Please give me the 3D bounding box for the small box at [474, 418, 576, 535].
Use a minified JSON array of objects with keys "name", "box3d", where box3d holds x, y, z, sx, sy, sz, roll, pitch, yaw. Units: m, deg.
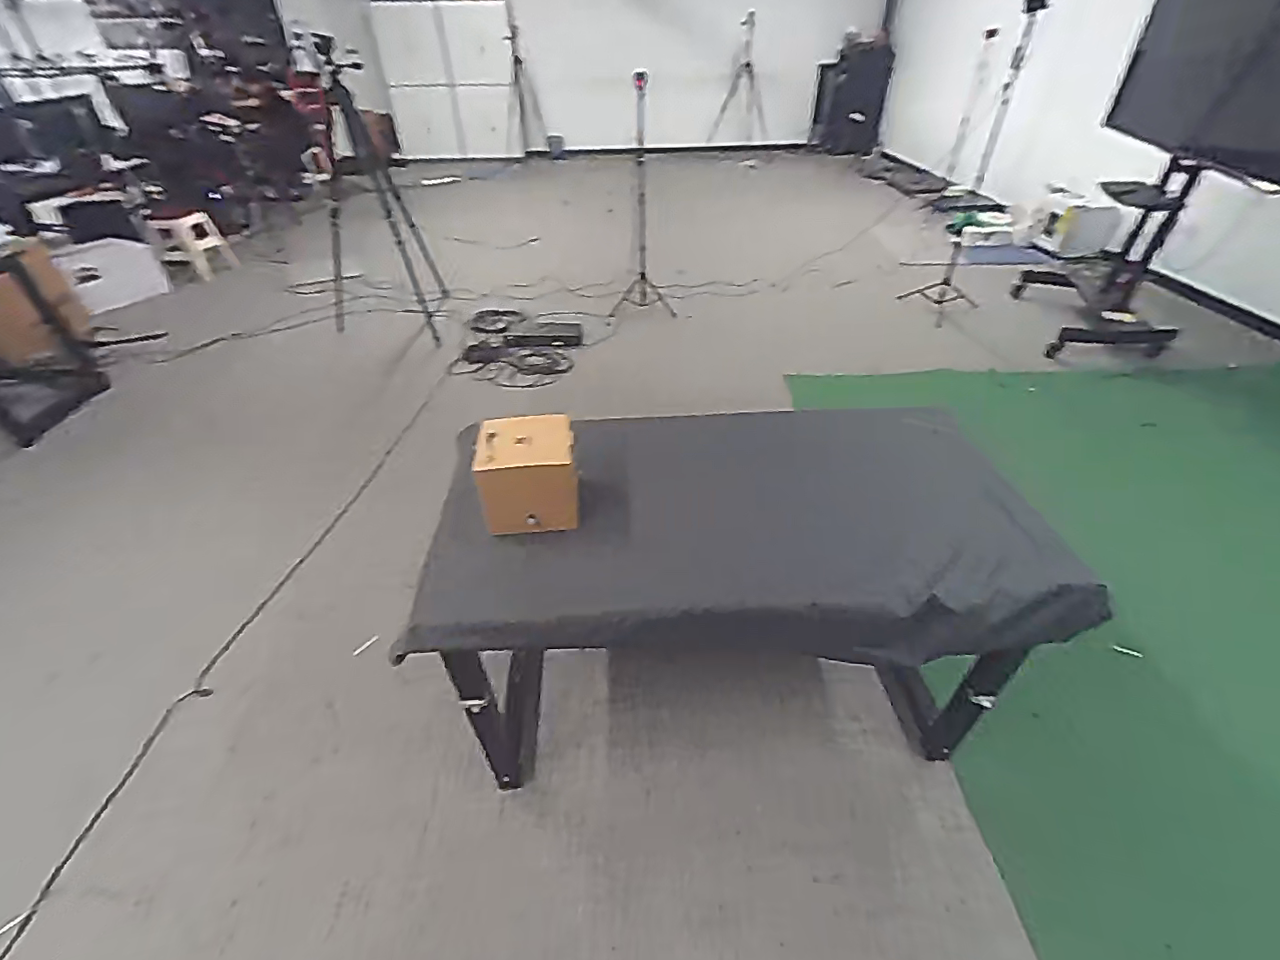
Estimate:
[{"name":"small box","box3d":[-0.220,-0.007,1.085,0.179,0.176,0.168,-4,39,-5]}]
